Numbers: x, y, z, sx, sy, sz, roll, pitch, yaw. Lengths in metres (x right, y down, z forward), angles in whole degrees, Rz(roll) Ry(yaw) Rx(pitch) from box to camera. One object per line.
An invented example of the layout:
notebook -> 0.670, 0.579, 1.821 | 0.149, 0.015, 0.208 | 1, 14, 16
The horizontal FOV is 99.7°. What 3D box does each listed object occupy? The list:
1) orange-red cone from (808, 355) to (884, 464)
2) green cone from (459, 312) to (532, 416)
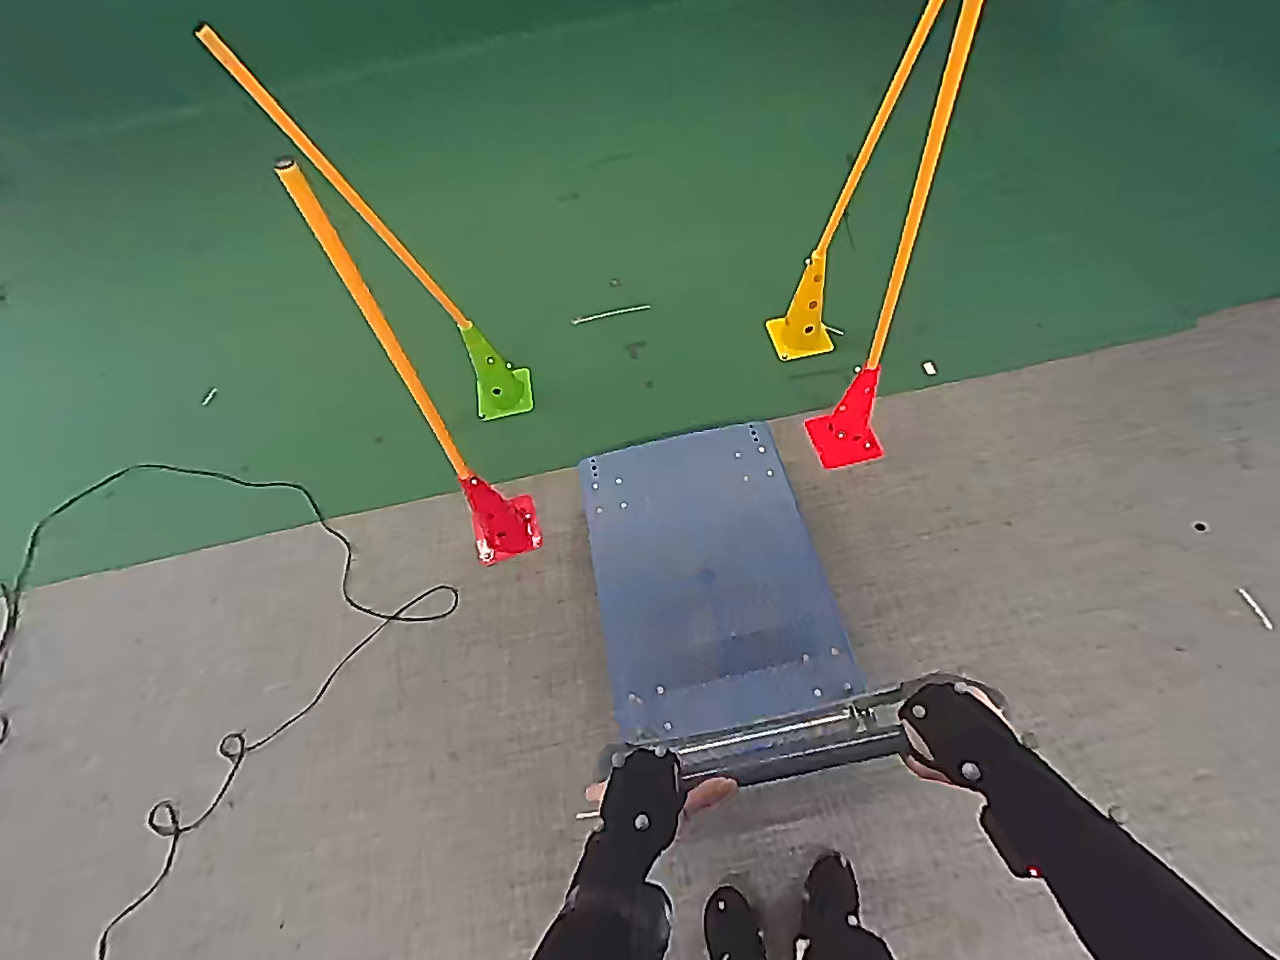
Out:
orange-red cone -> 0.641, -0.231, 1.584 | 0.198, 0.360, 0.199 | -12, 59, -1
green cone -> -0.513, -0.411, 1.815 | 0.200, 0.368, 0.202 | -13, 60, 0
